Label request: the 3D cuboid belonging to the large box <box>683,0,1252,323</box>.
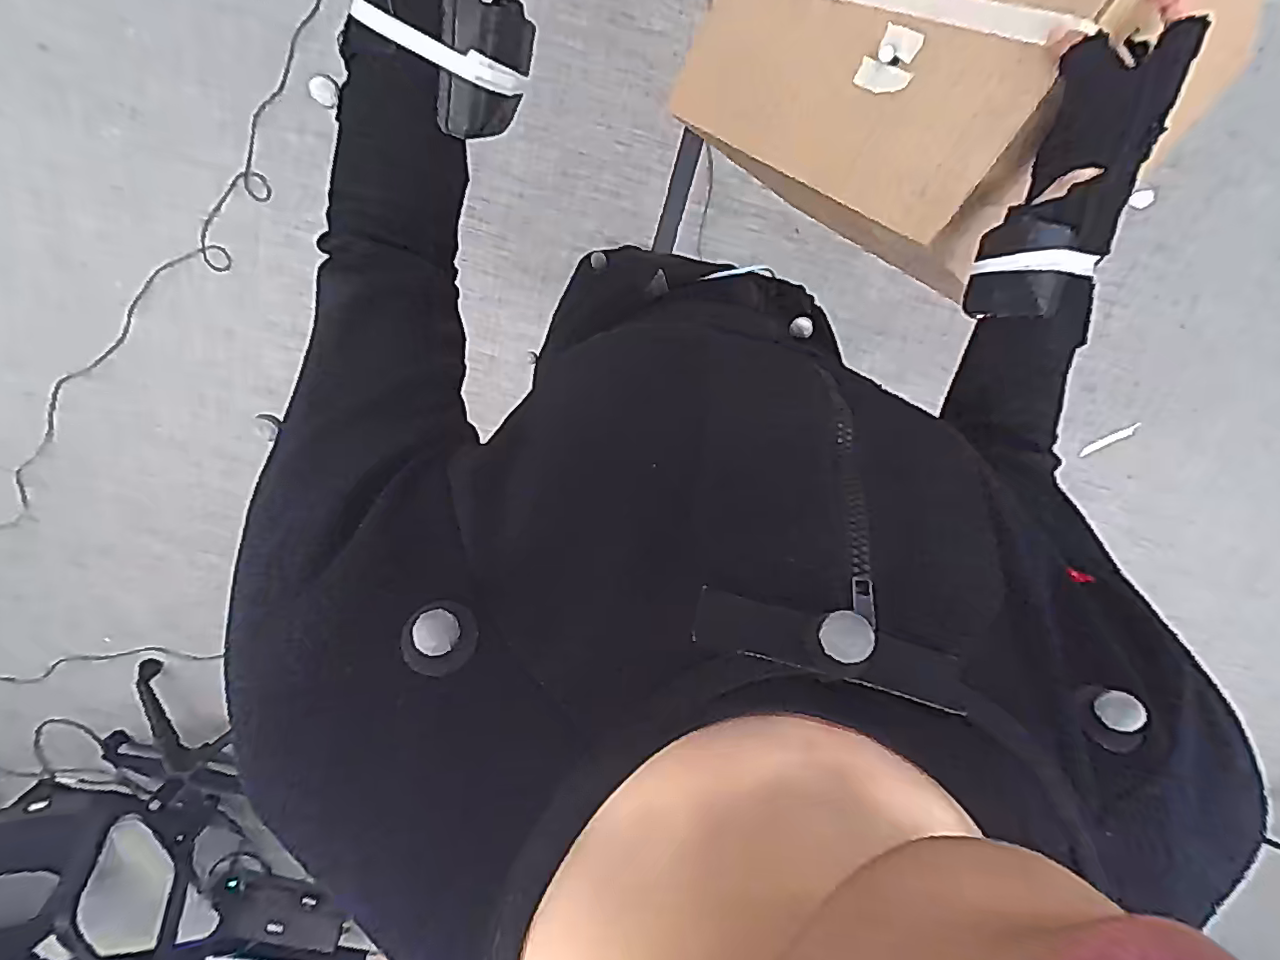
[{"bbox_3d":[0.332,-0.443,0.616,0.320,0.408,0.320,3,130,-44],"label":"large box"}]
